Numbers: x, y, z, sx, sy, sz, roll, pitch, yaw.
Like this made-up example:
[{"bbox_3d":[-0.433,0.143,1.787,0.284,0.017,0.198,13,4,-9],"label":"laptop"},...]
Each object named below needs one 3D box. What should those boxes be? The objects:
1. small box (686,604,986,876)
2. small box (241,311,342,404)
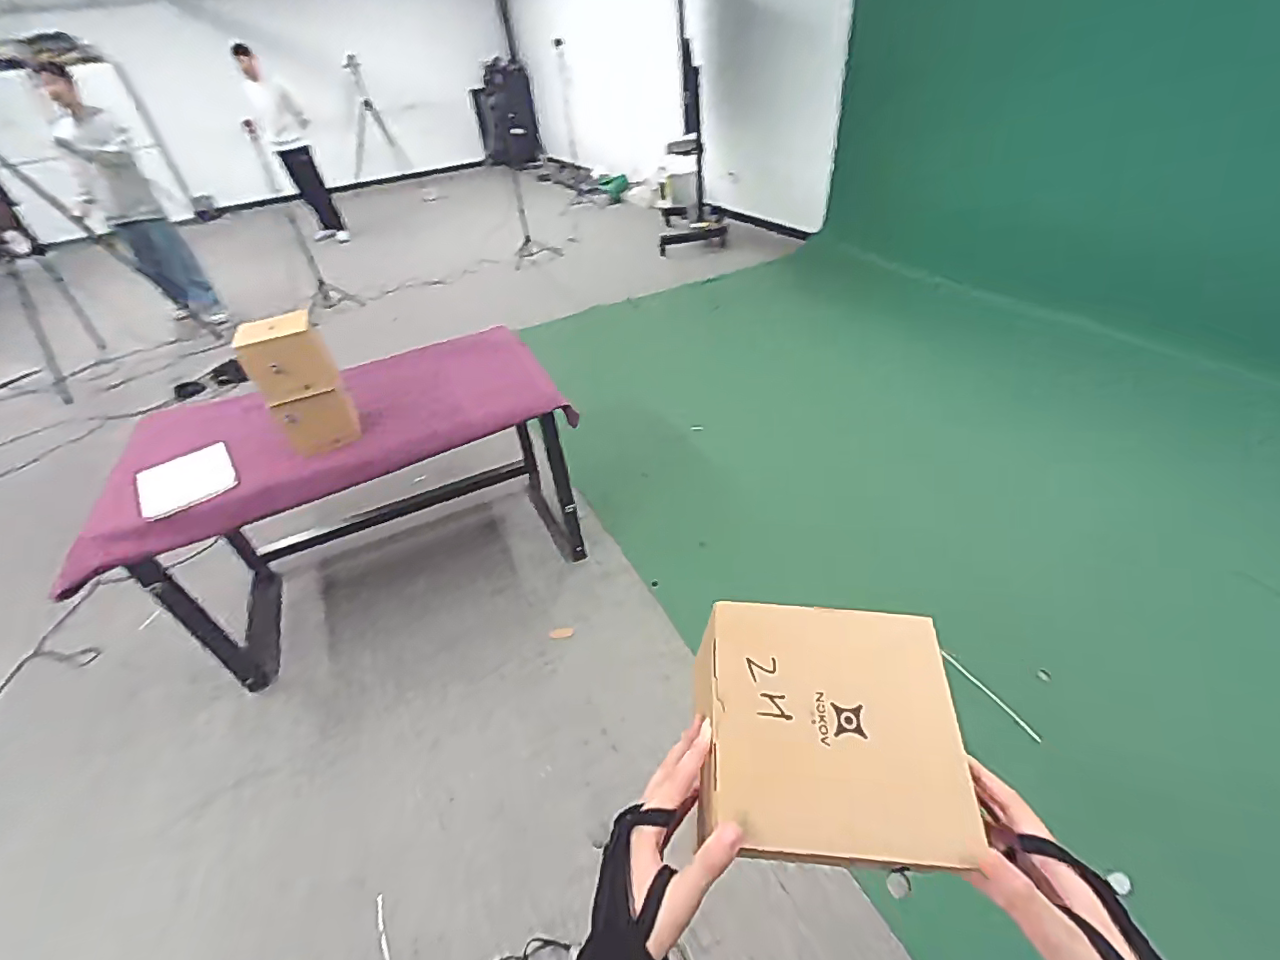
[{"bbox_3d":[0.136,0.219,0.450,0.179,0.176,0.168,4,54,2],"label":"small box"},{"bbox_3d":[-0.897,-0.315,1.408,0.168,0.176,0.179,-20,39,-16],"label":"small box"}]
